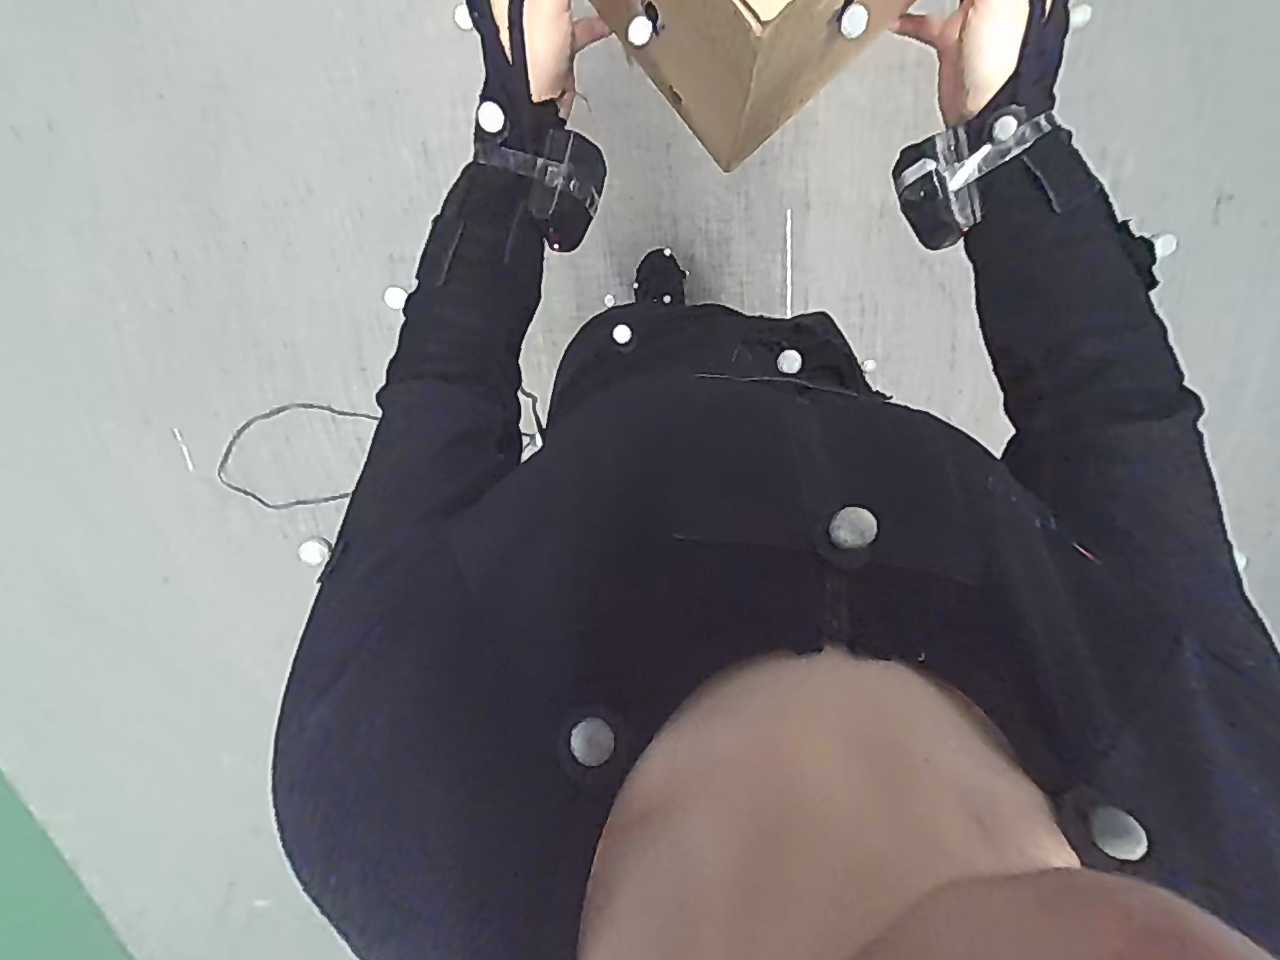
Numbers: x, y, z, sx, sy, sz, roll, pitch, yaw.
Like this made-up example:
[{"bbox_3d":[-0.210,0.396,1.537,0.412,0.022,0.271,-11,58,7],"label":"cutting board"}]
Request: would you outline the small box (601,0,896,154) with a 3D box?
[{"bbox_3d":[0.068,-0.337,0.310,0.179,0.176,0.168,-41,94,10],"label":"small box"}]
